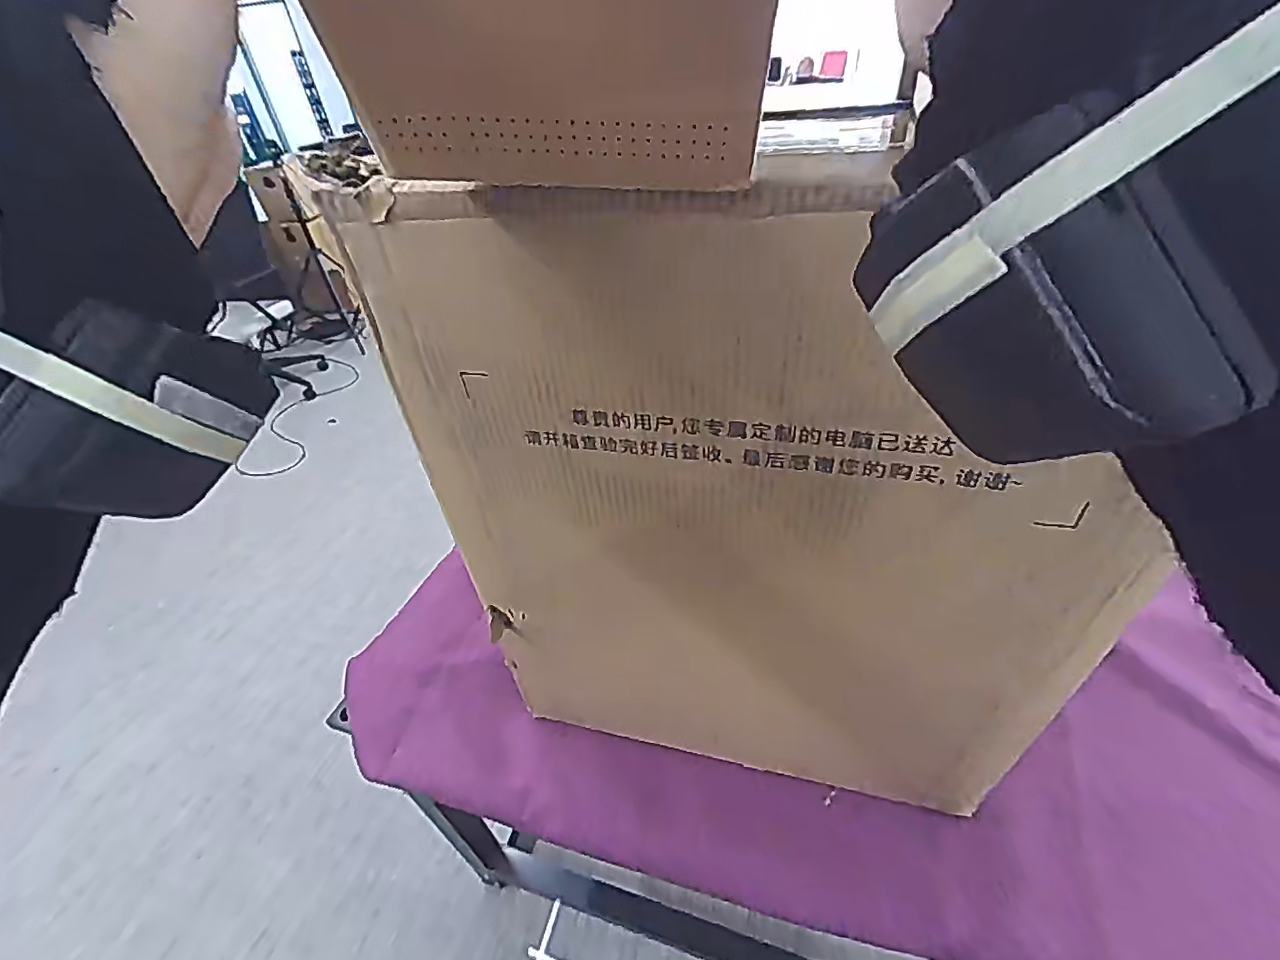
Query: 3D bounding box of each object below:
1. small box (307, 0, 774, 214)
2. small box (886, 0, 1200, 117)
[{"bbox_3d":[-0.033,-0.235,0.221,0.179,0.176,0.168,4,66,4],"label":"small box"},{"bbox_3d":[0.279,-0.368,0.384,0.168,0.176,0.179,7,41,17],"label":"small box"}]
